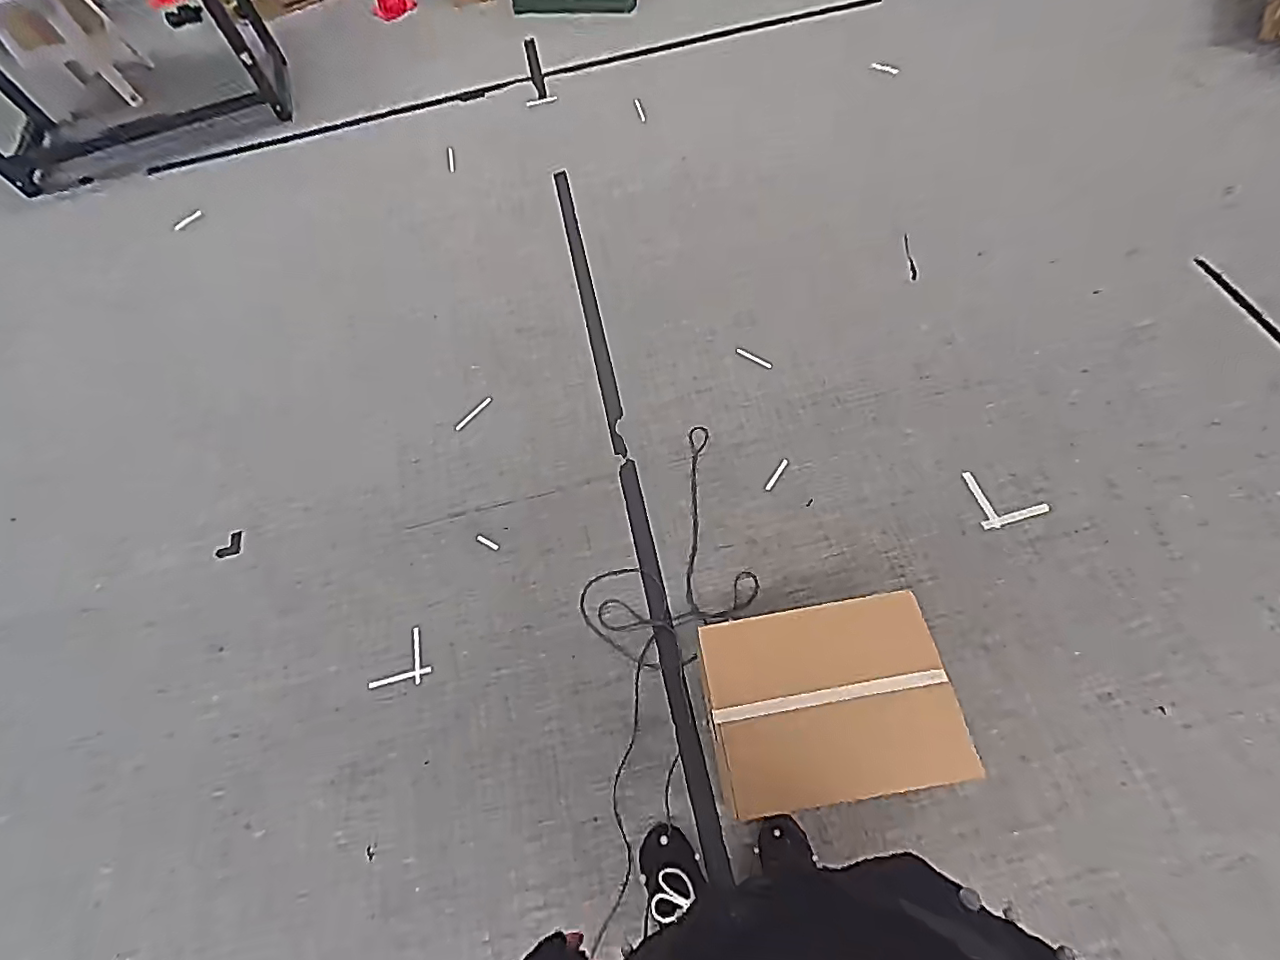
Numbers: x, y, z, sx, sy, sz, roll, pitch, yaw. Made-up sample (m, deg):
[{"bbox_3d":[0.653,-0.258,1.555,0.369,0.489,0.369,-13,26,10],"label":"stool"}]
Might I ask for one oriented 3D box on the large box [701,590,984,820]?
[{"bbox_3d":[0.349,0.444,1.067,0.408,0.320,0.320,-11,63,1],"label":"large box"}]
